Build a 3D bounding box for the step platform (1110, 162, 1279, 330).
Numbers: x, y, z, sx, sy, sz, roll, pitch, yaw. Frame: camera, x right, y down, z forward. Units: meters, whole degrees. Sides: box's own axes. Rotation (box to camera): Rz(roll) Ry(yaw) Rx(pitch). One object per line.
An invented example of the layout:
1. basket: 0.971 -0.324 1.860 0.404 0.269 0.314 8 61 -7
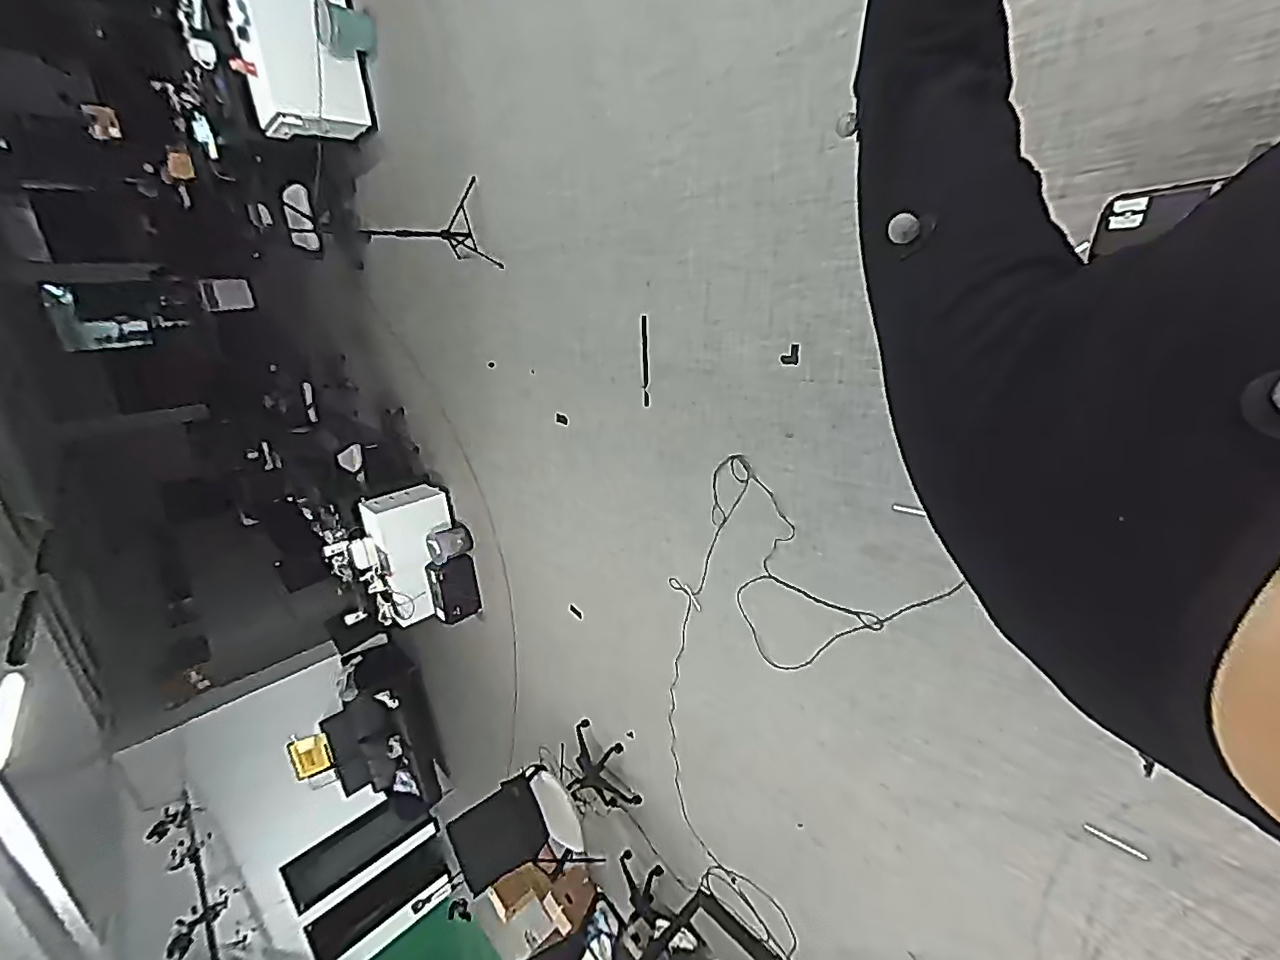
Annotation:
1. step platform: 1.251 -0.413 0.918 0.684 0.204 0.286 13 116 44
